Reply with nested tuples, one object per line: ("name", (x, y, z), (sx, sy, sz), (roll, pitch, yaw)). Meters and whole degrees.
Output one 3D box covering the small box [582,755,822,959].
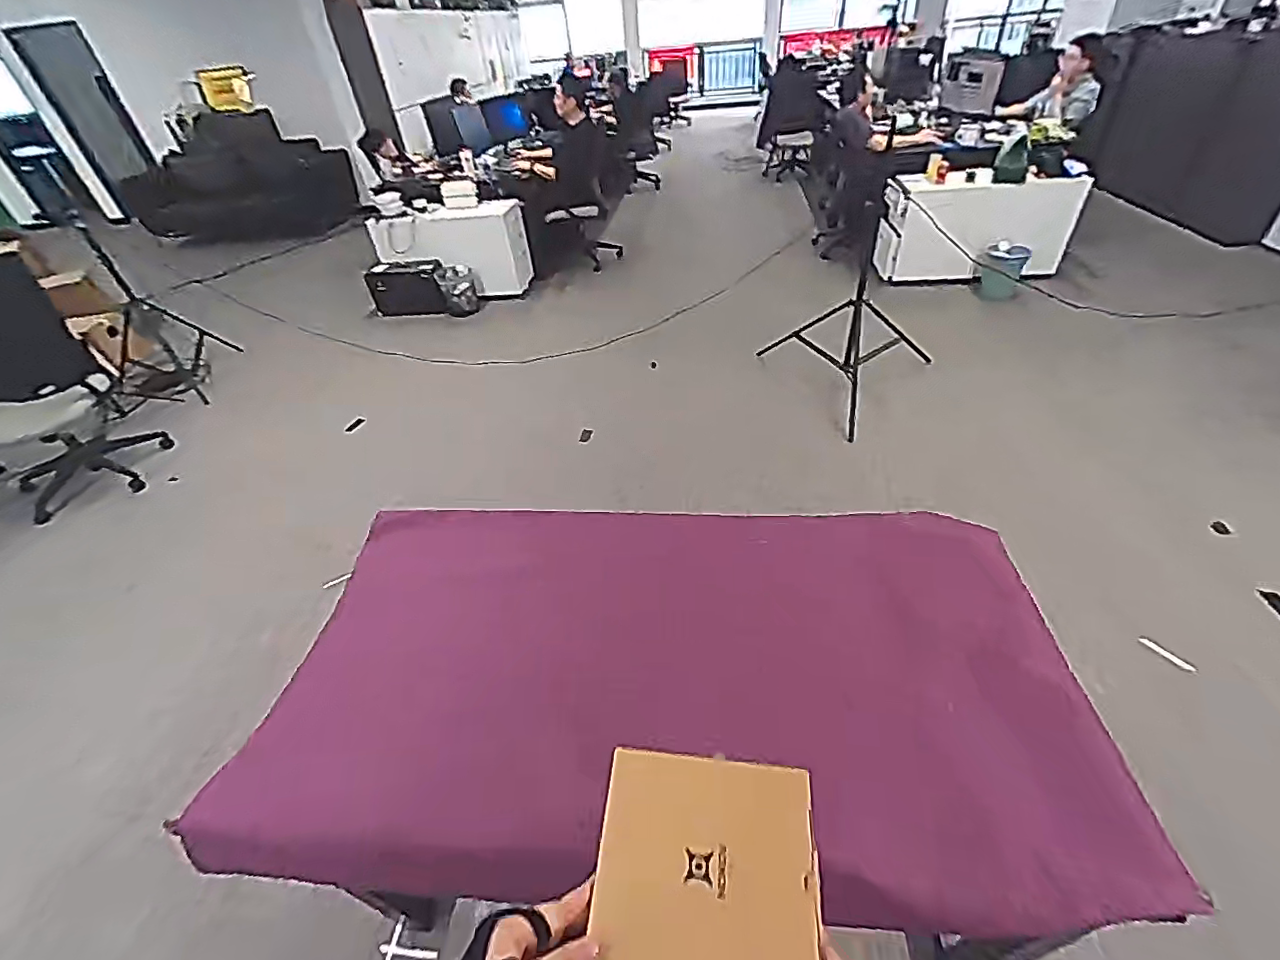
("small box", (0.059, 0.371, 0.485), (0.179, 0.176, 0.168), (2, 45, 9))
